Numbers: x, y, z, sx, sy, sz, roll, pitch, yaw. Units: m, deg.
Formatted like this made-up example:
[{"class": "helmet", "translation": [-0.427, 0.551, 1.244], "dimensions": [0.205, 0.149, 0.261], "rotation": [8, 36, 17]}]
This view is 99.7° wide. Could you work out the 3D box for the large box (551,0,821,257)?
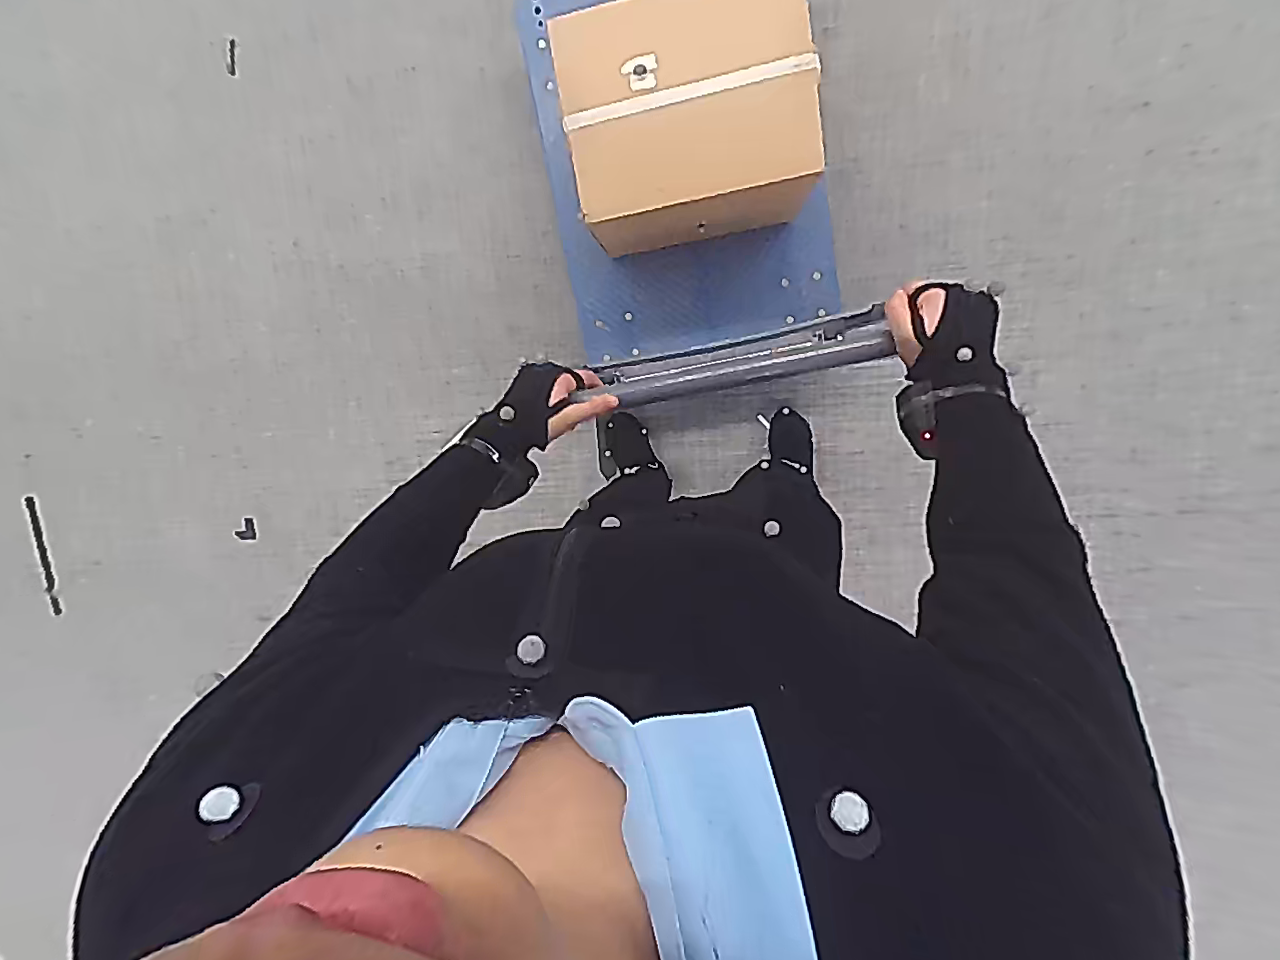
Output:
[{"class": "large box", "translation": [0.092, -0.649, 1.027], "dimensions": [0.408, 0.320, 0.320], "rotation": [-9, 100, 8]}]
